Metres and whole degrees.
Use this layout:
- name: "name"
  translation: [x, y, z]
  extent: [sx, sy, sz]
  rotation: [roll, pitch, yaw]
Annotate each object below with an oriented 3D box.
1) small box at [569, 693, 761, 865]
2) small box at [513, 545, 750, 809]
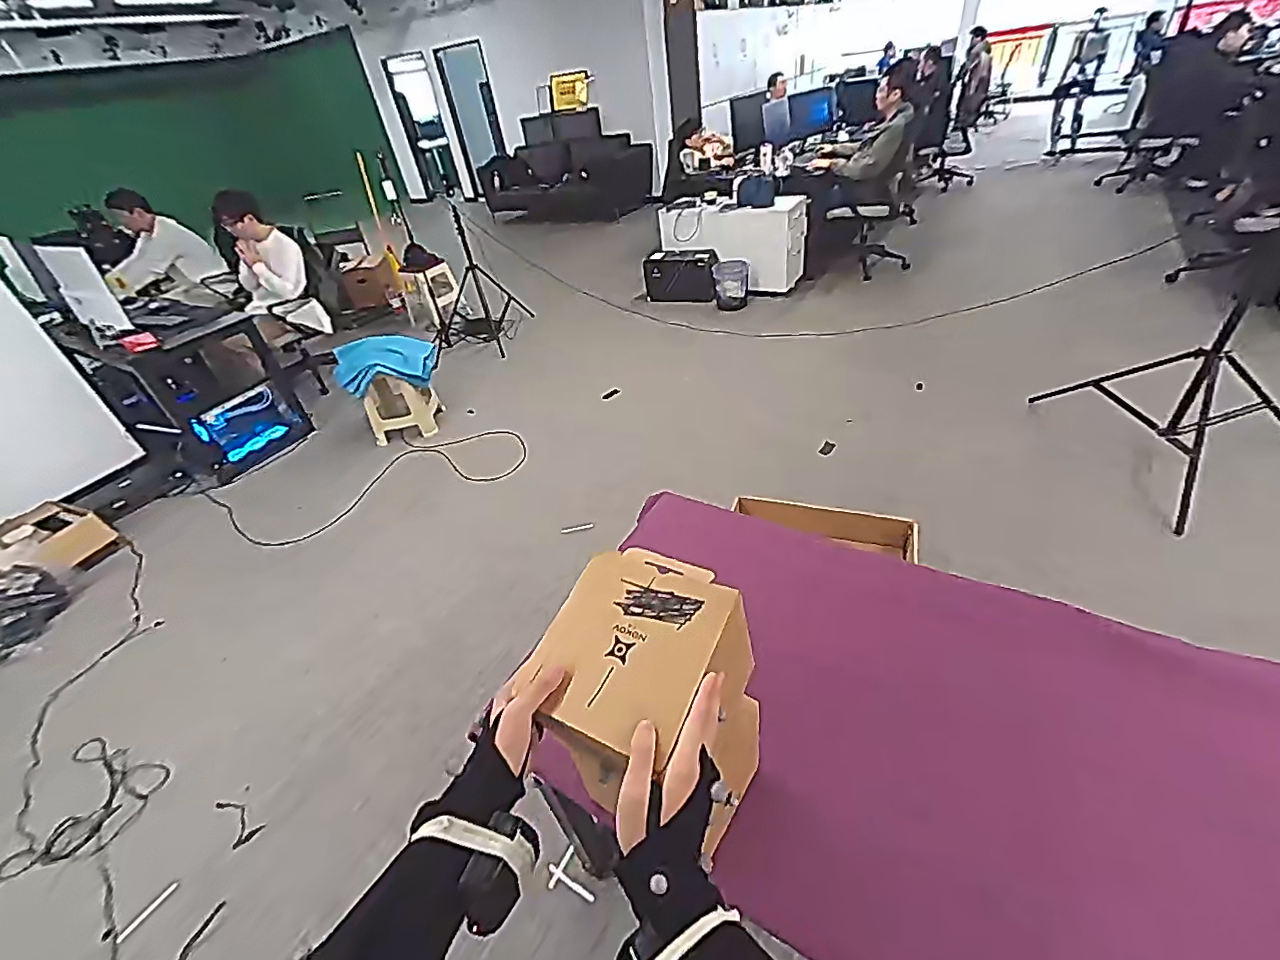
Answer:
- name: "small box"
  translation: [0.041, 0.351, 0.694]
  extent: [0.179, 0.176, 0.168]
  rotation: [19, 46, 32]
- name: "small box"
  translation: [0.007, 0.201, 0.560]
  extent: [0.168, 0.176, 0.179]
  rotation: [13, 55, 28]
